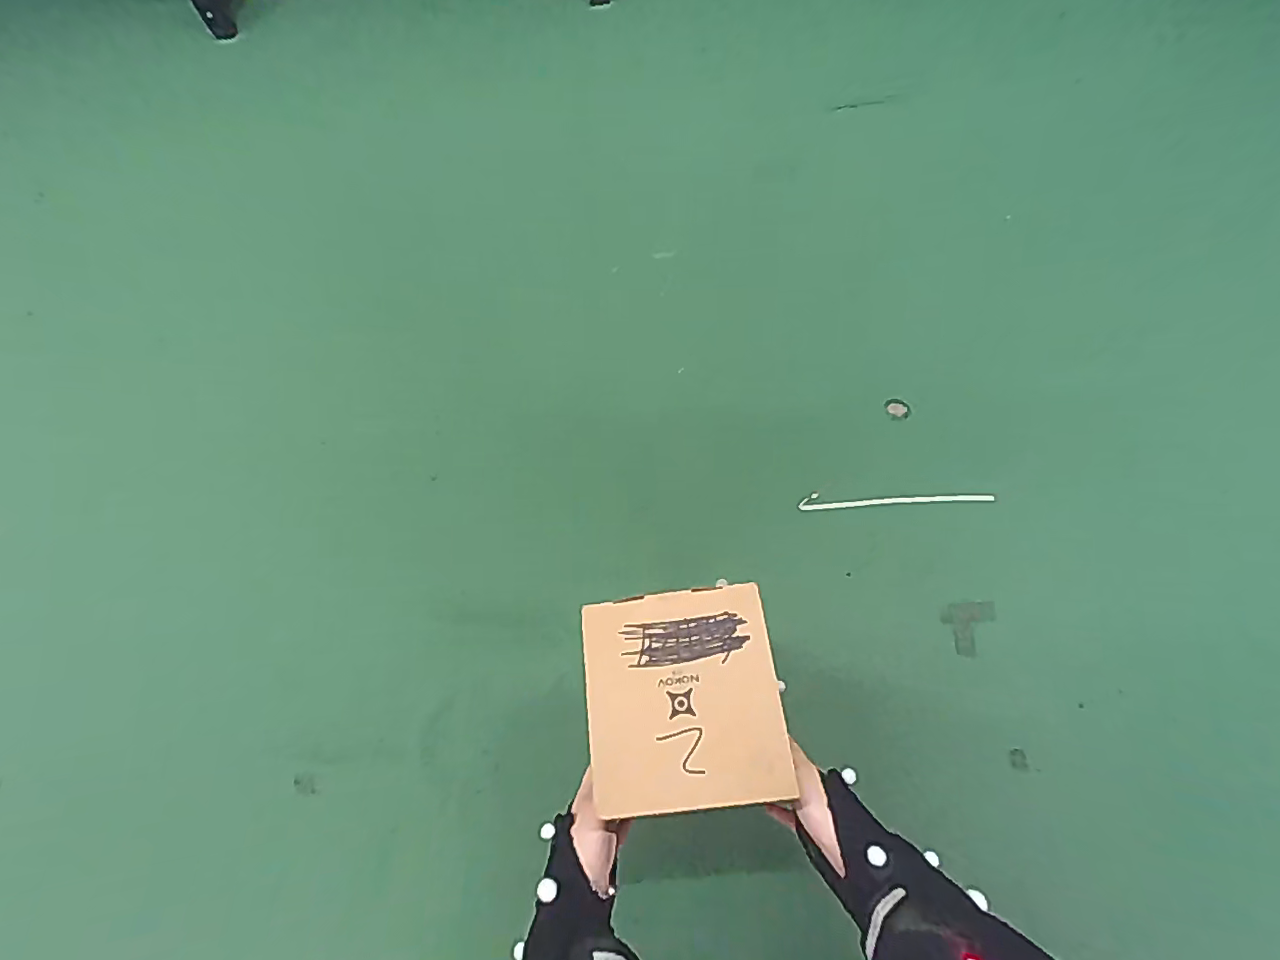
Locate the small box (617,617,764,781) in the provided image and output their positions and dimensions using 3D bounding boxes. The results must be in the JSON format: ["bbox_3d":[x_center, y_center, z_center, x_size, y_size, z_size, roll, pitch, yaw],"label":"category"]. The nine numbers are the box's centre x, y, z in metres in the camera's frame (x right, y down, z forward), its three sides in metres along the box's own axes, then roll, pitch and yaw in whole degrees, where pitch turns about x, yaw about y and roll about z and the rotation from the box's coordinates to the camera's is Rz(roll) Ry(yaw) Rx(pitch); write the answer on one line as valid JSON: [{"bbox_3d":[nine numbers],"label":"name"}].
[{"bbox_3d":[0.063,0.288,0.714,0.168,0.176,0.179,-5,64,3],"label":"small box"}]
